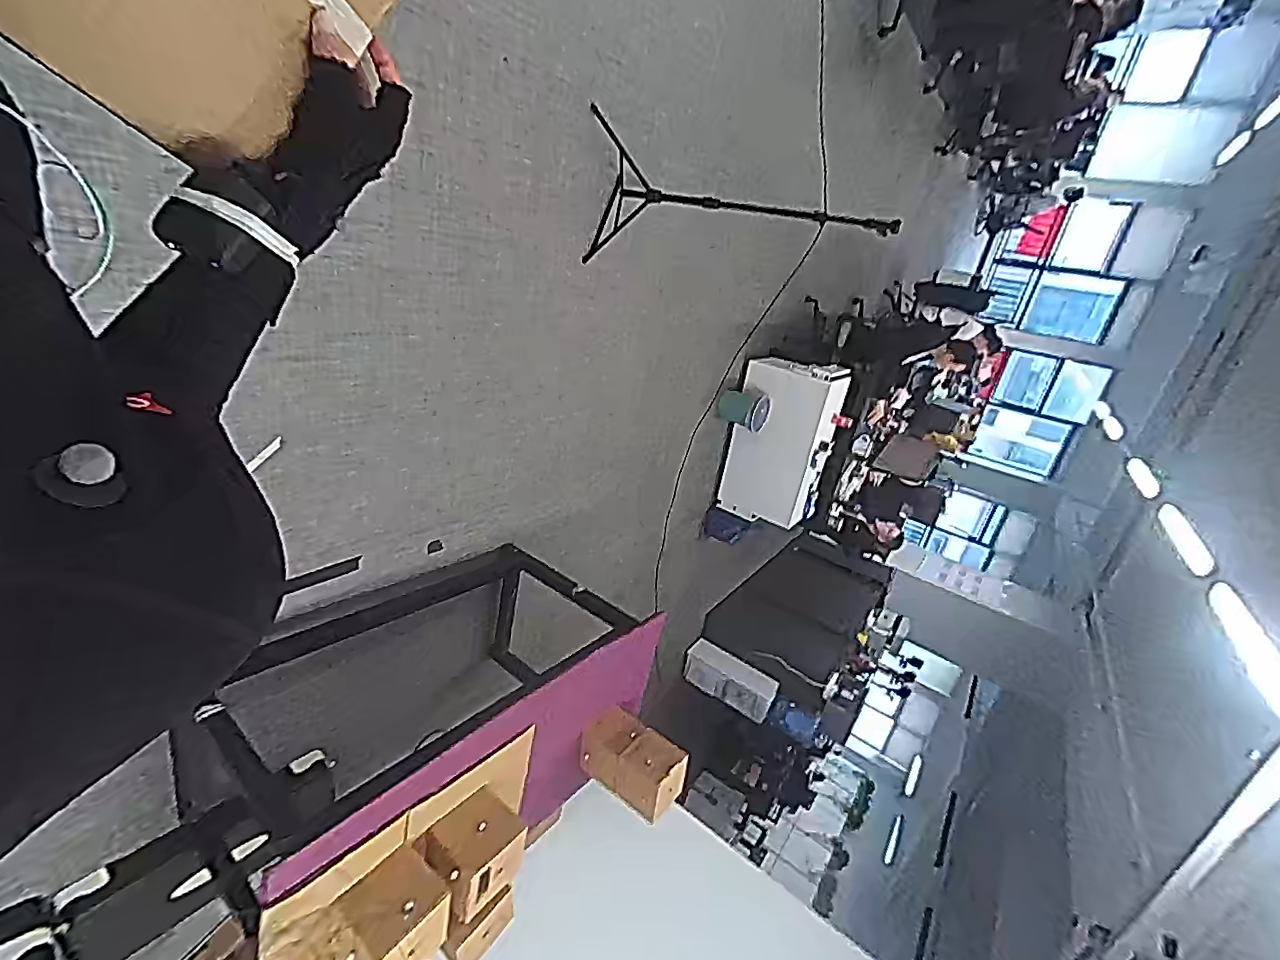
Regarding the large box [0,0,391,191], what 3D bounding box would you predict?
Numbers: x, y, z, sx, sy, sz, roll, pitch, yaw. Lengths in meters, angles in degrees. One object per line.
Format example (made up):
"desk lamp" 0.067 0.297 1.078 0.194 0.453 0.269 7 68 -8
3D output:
"large box" -0.414 -0.485 0.333 0.320 0.320 0.408 -52 153 1
